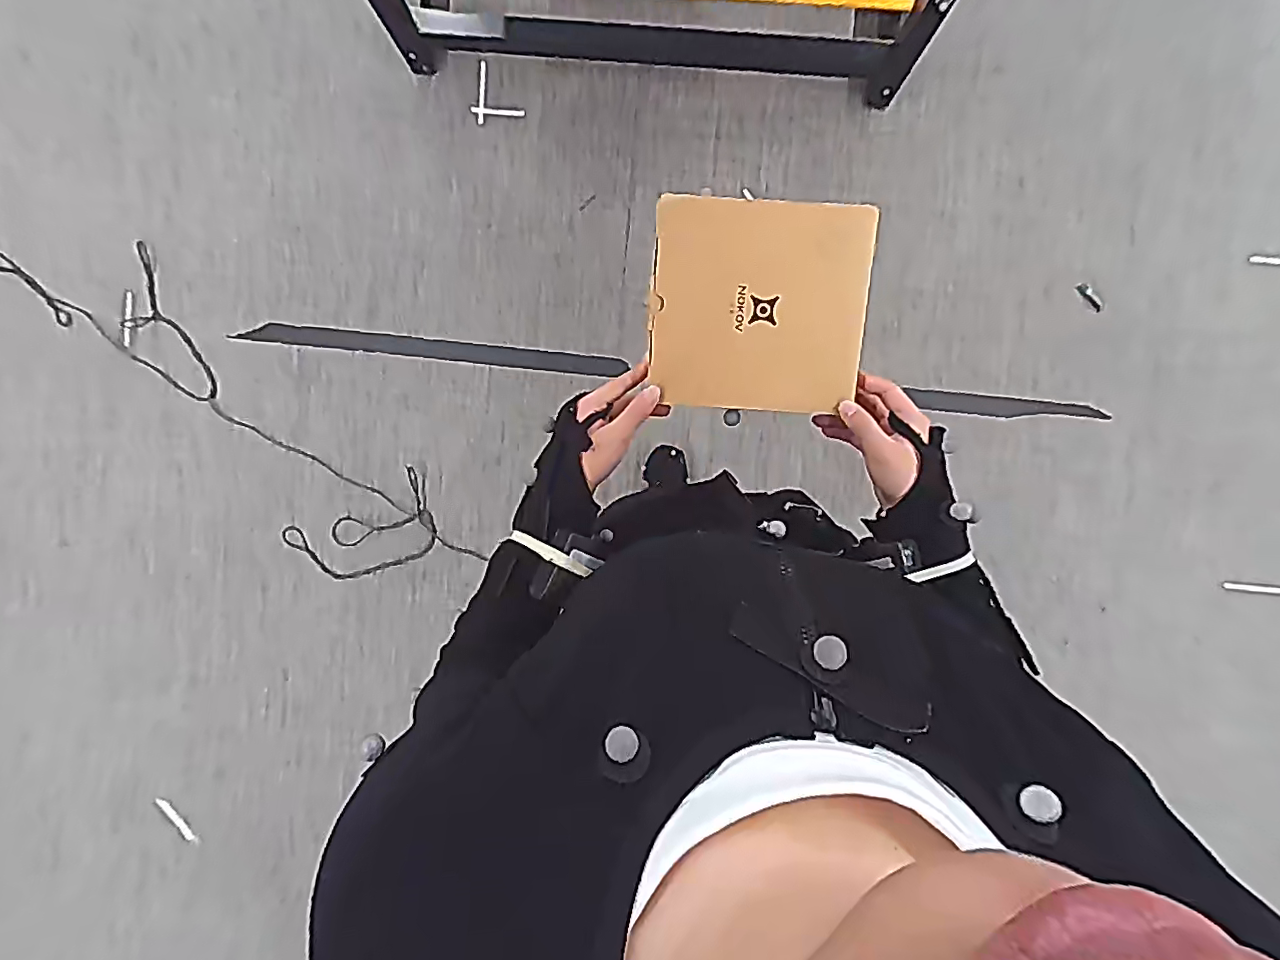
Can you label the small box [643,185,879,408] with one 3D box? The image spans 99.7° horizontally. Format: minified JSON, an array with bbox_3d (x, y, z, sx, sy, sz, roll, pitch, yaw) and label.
[{"bbox_3d":[0.098,-0.161,0.511,0.179,0.176,0.168,3,101,3],"label":"small box"}]
